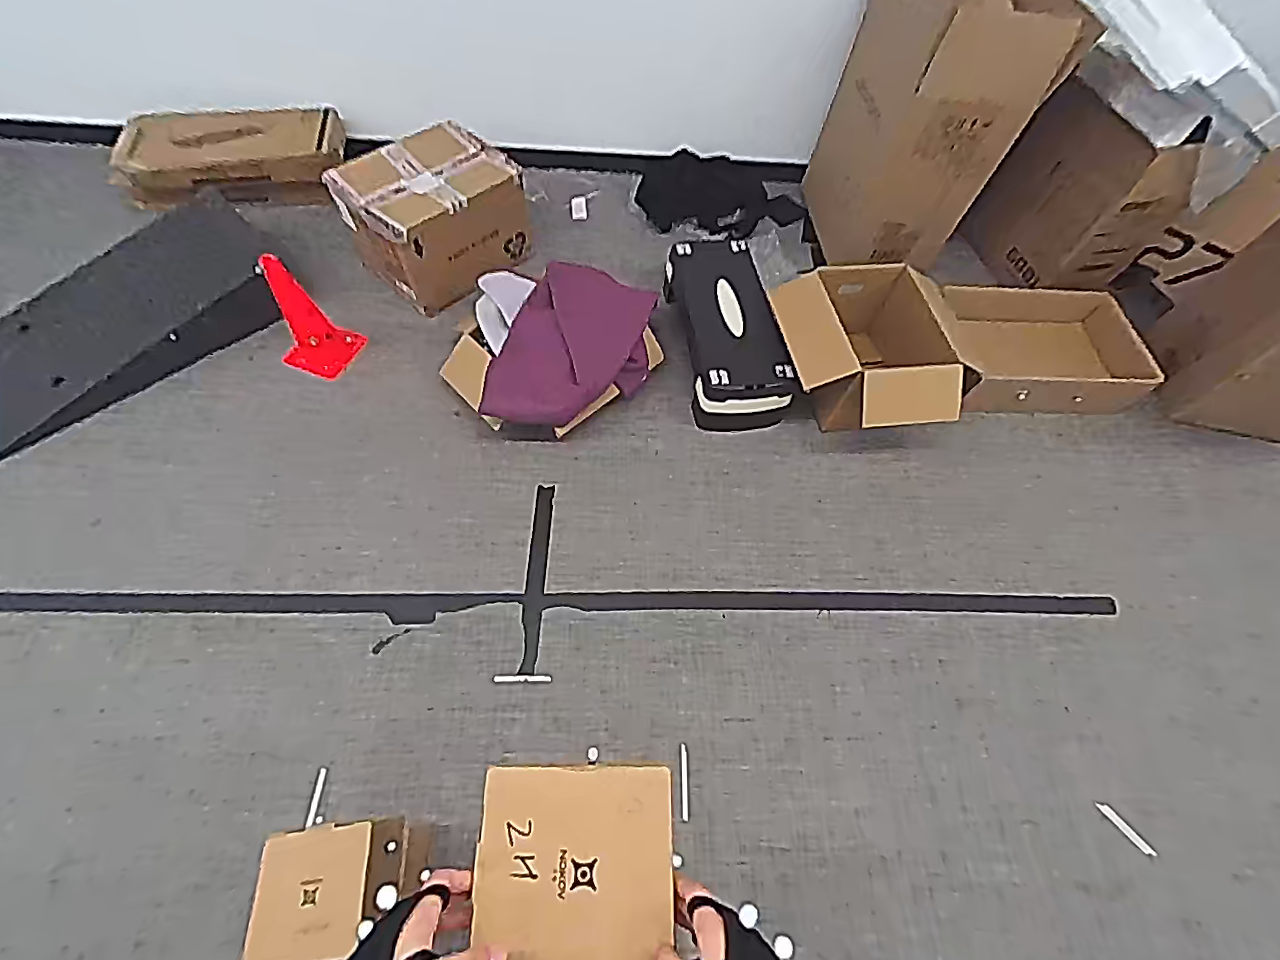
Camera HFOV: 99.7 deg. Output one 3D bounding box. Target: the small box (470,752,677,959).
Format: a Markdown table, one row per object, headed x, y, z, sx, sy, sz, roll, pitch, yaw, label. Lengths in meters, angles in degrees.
| x | y | z | sx | sy | sz | roll | pitch | yaw | label |
| --- | --- | --- | --- | --- | --- | --- | --- | --- | --- |
| -0.058 | 0.375 | 0.555 | 0.179 | 0.176 | 0.168 | 1 | 64 | -1 | small box |

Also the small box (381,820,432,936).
| x | y | z | sx | sy | sz | roll | pitch | yaw | label |
| --- | --- | --- | --- | --- | --- | --- | --- | --- | --- |
| -0.519 | 0.758 | 1.038 | 0.179 | 0.176 | 0.168 | -1 | 61 | -5 | small box |

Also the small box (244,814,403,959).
| x | y | z | sx | sy | sz | roll | pitch | yaw | label |
| --- | --- | --- | --- | --- | --- | --- | --- | --- | --- |
| -0.509 | 0.669 | 0.902 | 0.168 | 0.176 | 0.179 | -5 | 62 | -5 | small box |
